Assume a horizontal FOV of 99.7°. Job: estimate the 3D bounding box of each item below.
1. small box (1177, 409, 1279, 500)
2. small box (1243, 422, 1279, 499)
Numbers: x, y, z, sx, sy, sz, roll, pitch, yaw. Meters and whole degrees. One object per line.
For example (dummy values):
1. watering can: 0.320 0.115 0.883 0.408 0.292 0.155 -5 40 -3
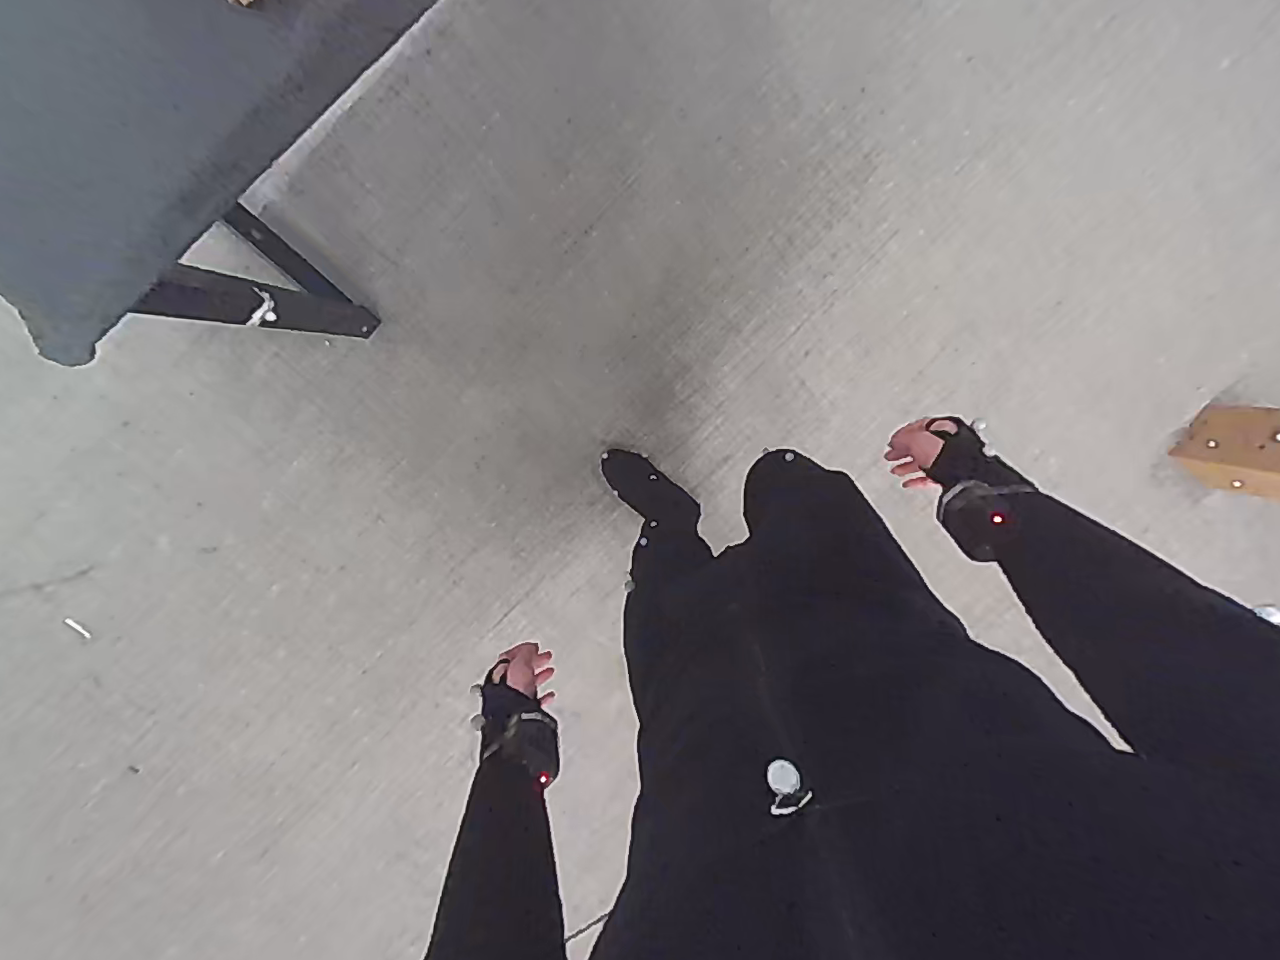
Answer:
1. small box: 1.548 -0.070 1.375 0.179 0.176 0.168 30 99 -11
2. small box: 1.553 -0.033 1.215 0.179 0.176 0.168 32 98 -8
